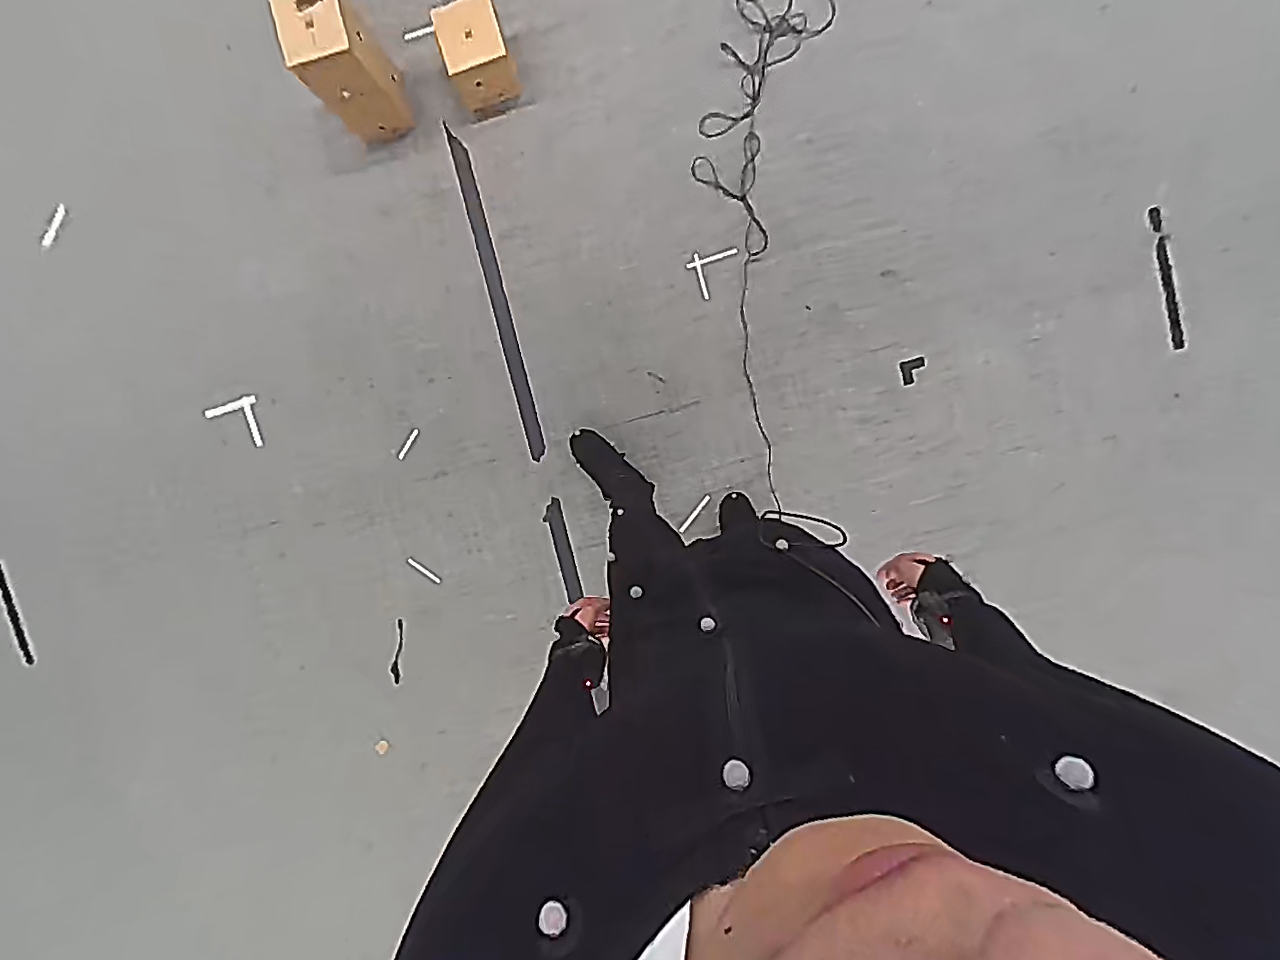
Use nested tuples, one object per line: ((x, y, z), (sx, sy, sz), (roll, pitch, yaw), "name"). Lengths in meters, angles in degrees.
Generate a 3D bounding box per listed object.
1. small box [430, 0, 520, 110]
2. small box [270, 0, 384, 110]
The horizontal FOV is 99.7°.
((-0.451, -1.177, 1.508), (0.168, 0.176, 0.179), (-17, 92, 4), "small box")
((-0.781, -1.088, 1.365), (0.168, 0.176, 0.179), (-13, 93, 4), "small box")
